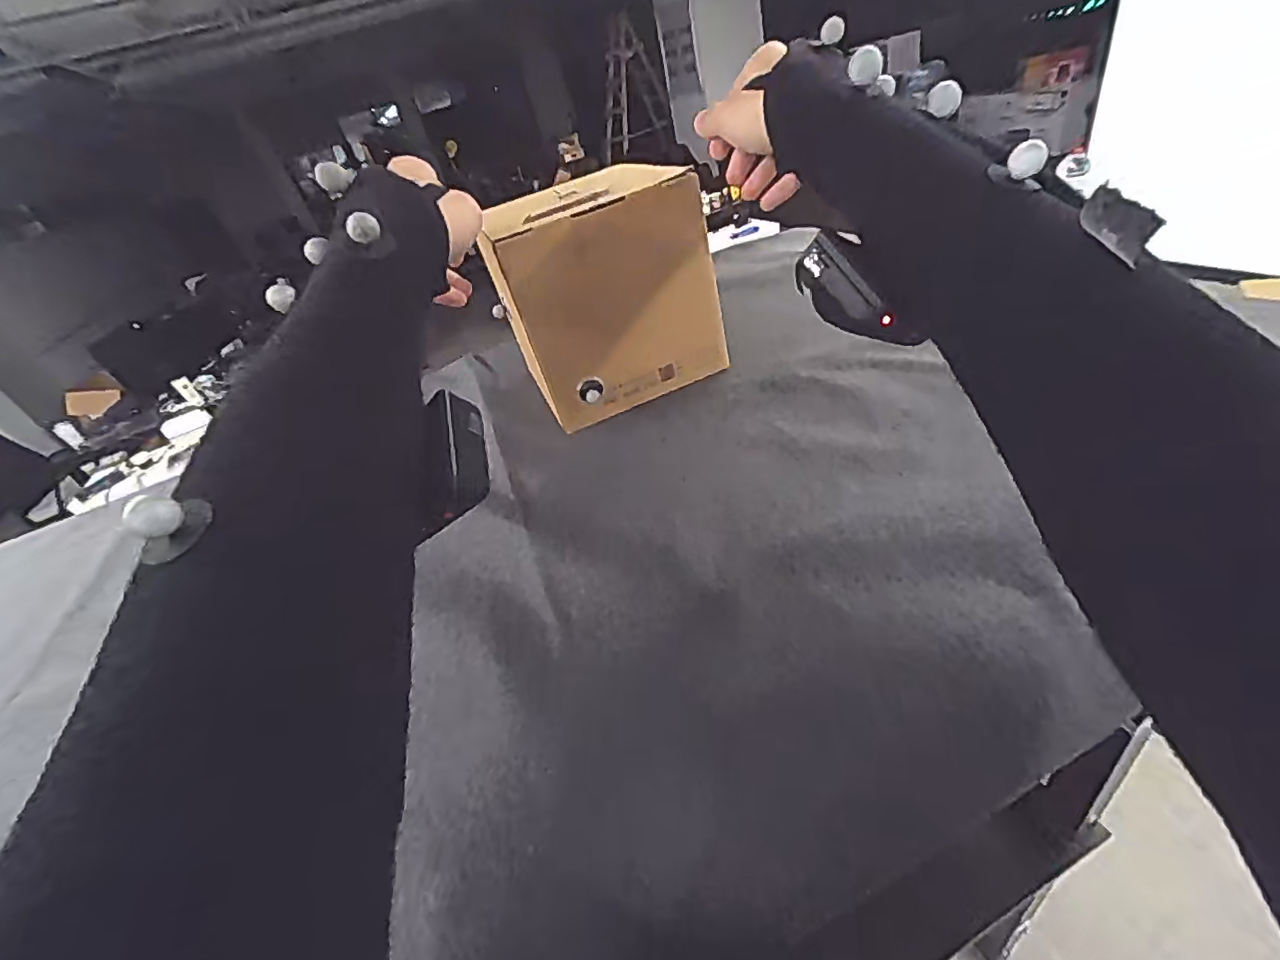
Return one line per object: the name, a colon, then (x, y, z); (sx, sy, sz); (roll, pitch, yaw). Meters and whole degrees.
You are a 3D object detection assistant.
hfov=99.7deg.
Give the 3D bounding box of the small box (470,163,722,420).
small box: (-0.040, -0.176, 0.507); (0.168, 0.176, 0.179); (-24, 36, -9)
